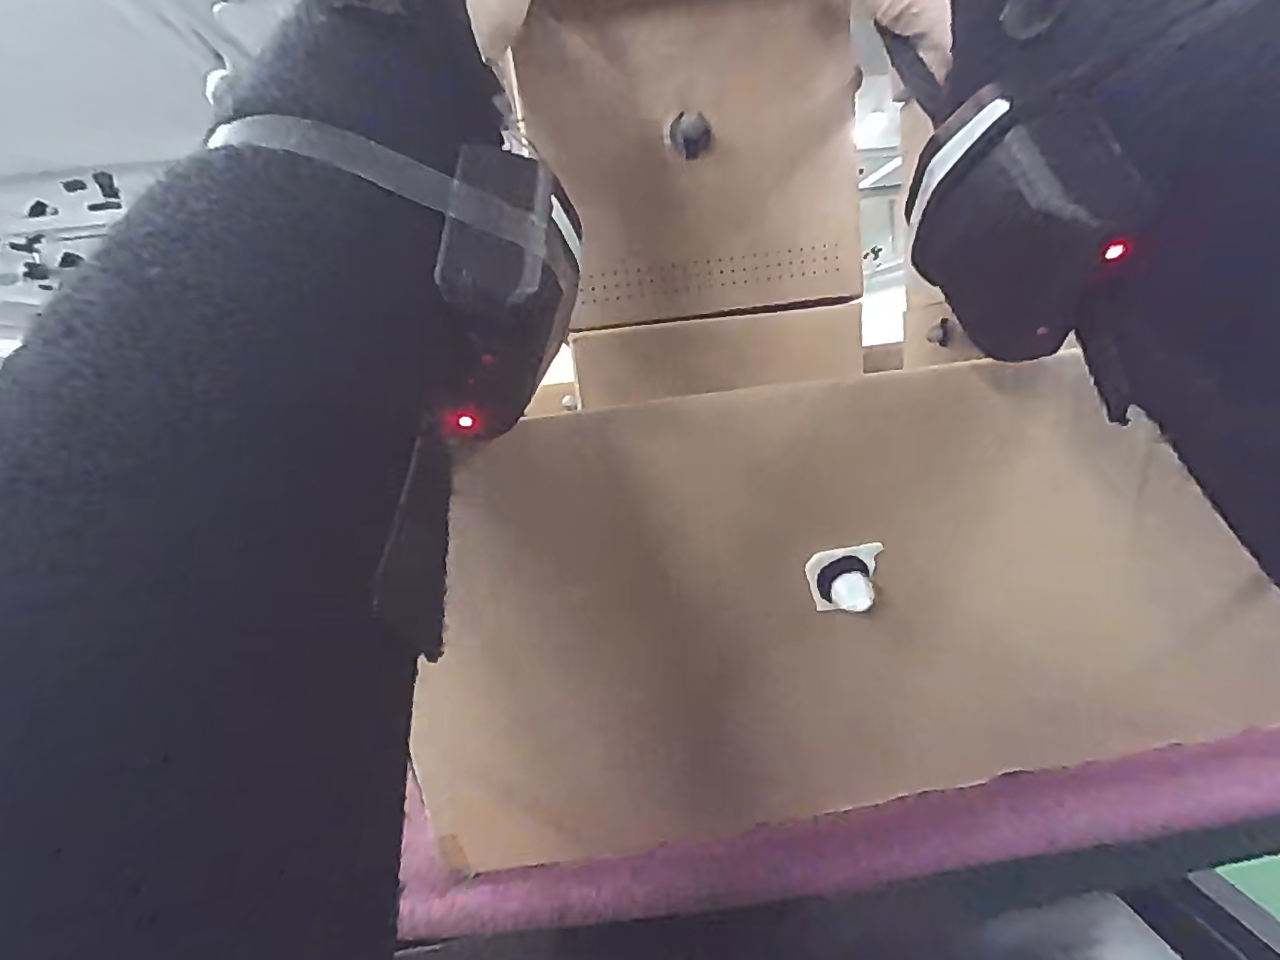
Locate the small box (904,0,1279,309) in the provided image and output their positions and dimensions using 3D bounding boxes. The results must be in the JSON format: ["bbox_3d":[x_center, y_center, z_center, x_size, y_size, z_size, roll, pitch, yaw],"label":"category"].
[{"bbox_3d":[0.311,-0.223,0.385,0.168,0.176,0.179,-9,12,-1],"label":"small box"}]

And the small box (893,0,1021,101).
[{"bbox_3d":[0.277,-0.377,0.346,0.168,0.176,0.179,-8,12,0],"label":"small box"}]
